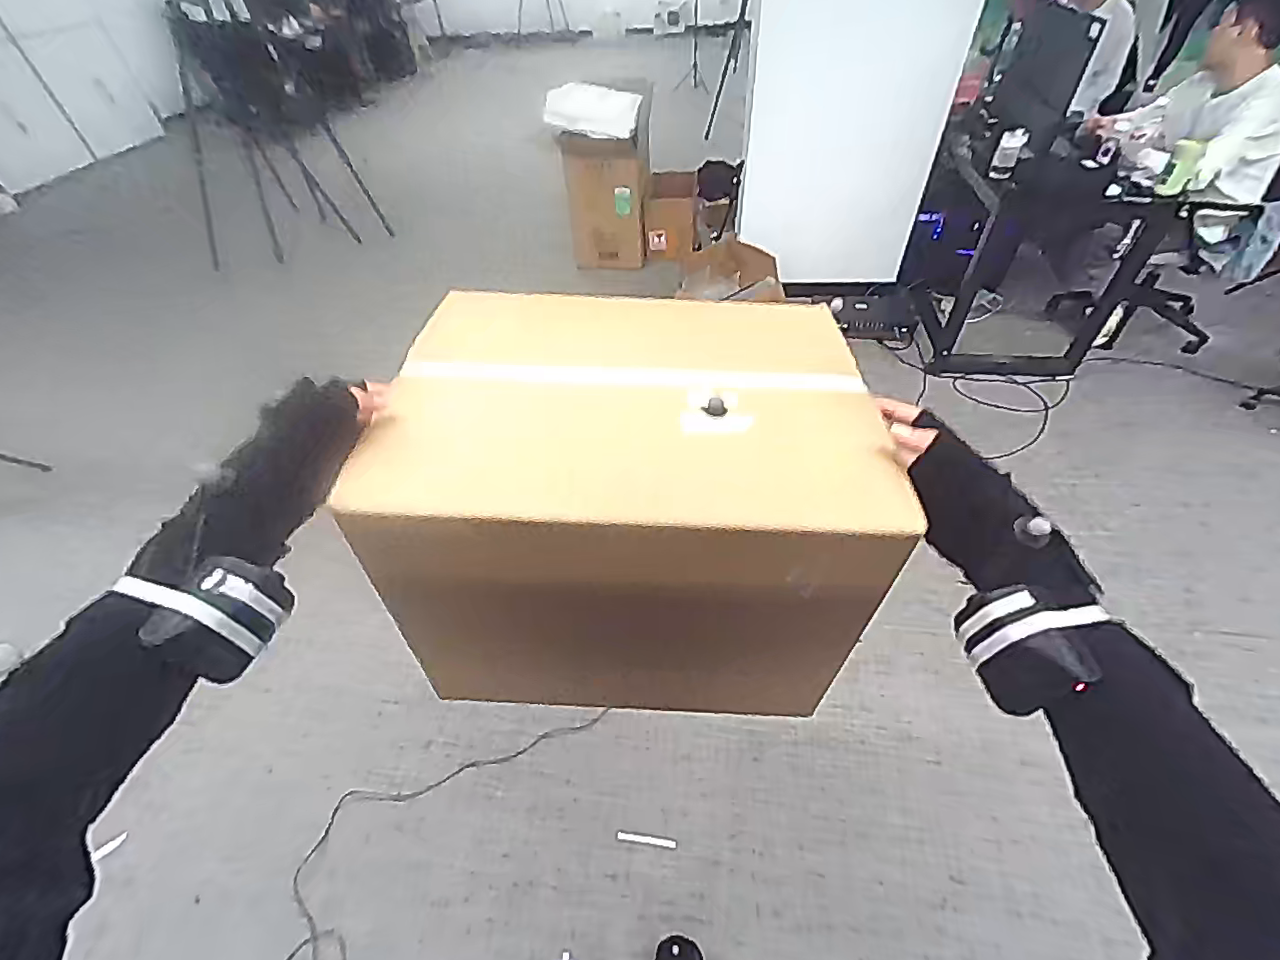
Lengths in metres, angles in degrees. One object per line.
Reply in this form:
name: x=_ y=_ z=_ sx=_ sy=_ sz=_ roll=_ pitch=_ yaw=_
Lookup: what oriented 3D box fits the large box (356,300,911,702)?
large box: x=-0.007 y=0.024 z=0.589 sx=0.408 sy=0.320 sz=0.320 roll=3 pitch=46 yaw=0
